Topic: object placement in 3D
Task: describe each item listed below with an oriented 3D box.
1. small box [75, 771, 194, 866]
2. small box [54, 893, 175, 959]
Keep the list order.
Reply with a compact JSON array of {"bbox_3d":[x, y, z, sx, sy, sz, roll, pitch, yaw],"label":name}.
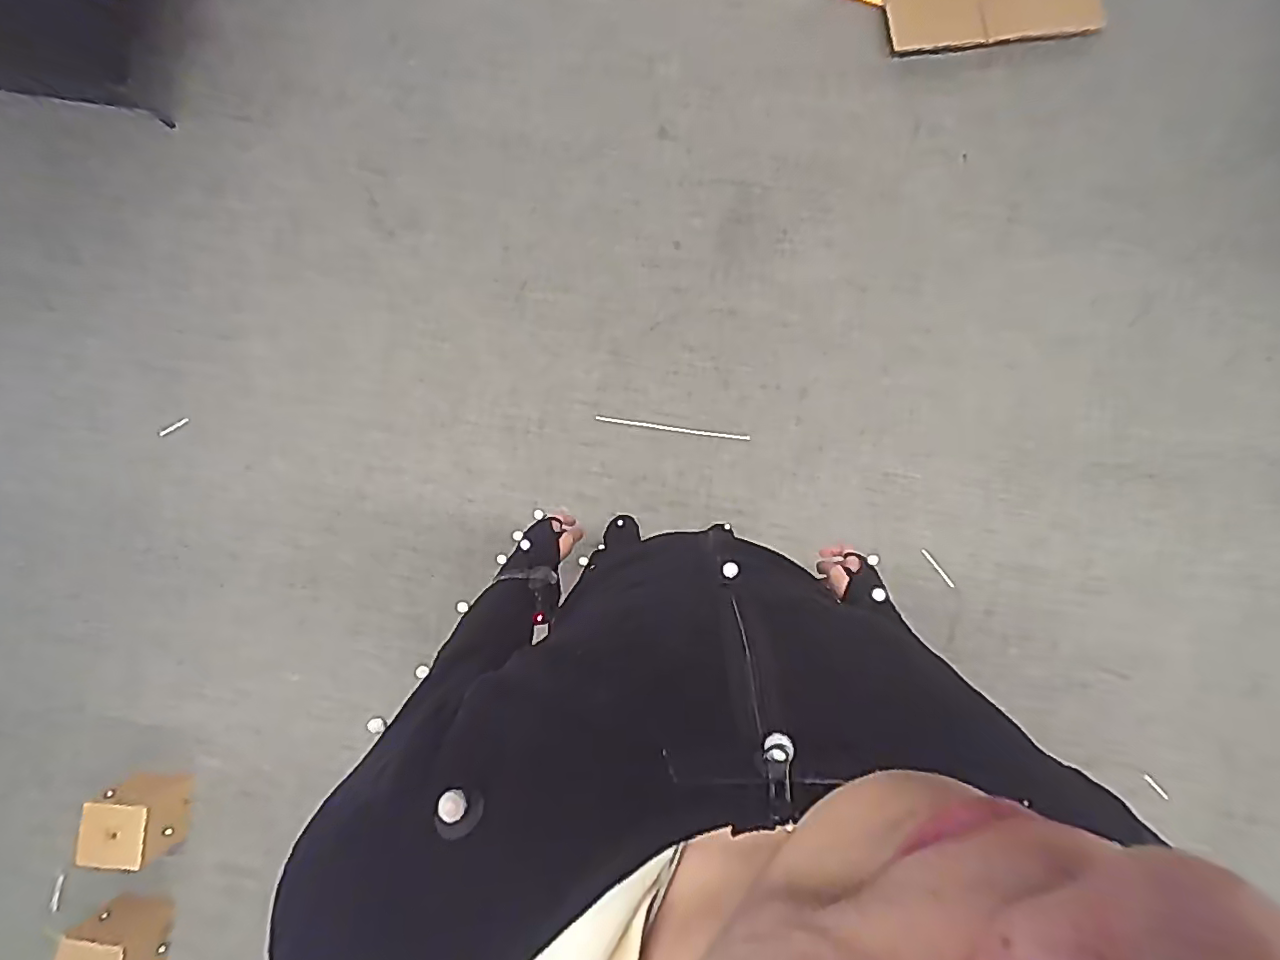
[{"bbox_3d":[-1.410,0.942,1.521,0.179,0.176,0.168,4,86,2],"label":"small box"},{"bbox_3d":[-1.454,1.289,1.494,0.179,0.176,0.168,7,86,1],"label":"small box"}]
